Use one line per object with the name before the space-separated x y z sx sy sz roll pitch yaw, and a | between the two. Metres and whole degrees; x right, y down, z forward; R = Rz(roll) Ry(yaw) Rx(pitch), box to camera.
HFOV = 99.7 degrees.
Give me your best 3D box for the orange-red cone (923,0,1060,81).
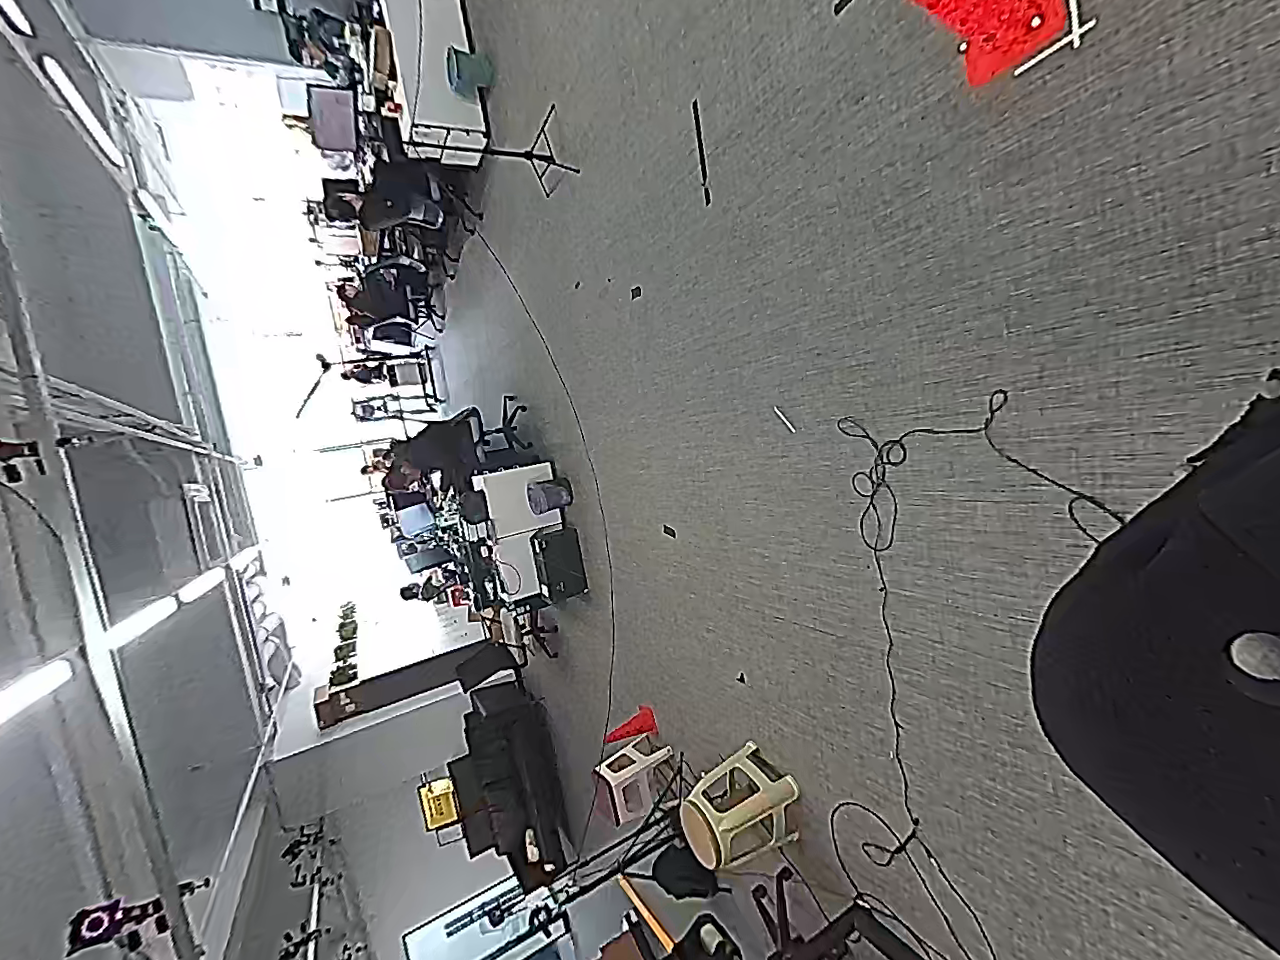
orange-red cone | 0.675 -1.015 1.128 0.198 0.360 0.199 -2 98 61
